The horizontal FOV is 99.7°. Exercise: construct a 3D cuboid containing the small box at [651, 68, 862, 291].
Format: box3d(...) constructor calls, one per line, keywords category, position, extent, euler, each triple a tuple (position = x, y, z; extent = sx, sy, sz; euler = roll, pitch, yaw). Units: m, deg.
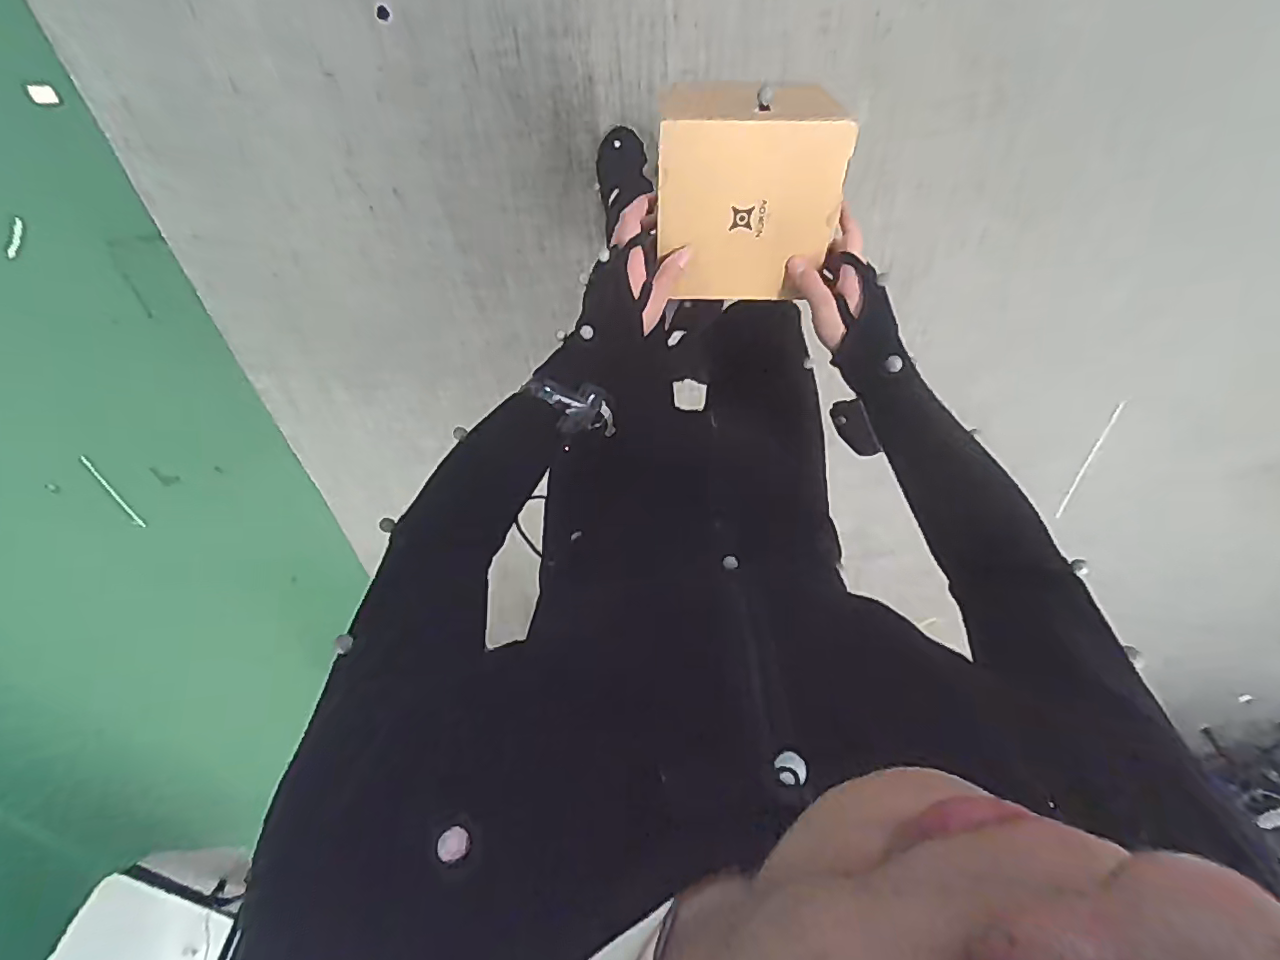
box3d(category="small box", position=(0.101, -0.314, 0.564), extent=(0.179, 0.176, 0.168), euler=(0, 135, 1))
